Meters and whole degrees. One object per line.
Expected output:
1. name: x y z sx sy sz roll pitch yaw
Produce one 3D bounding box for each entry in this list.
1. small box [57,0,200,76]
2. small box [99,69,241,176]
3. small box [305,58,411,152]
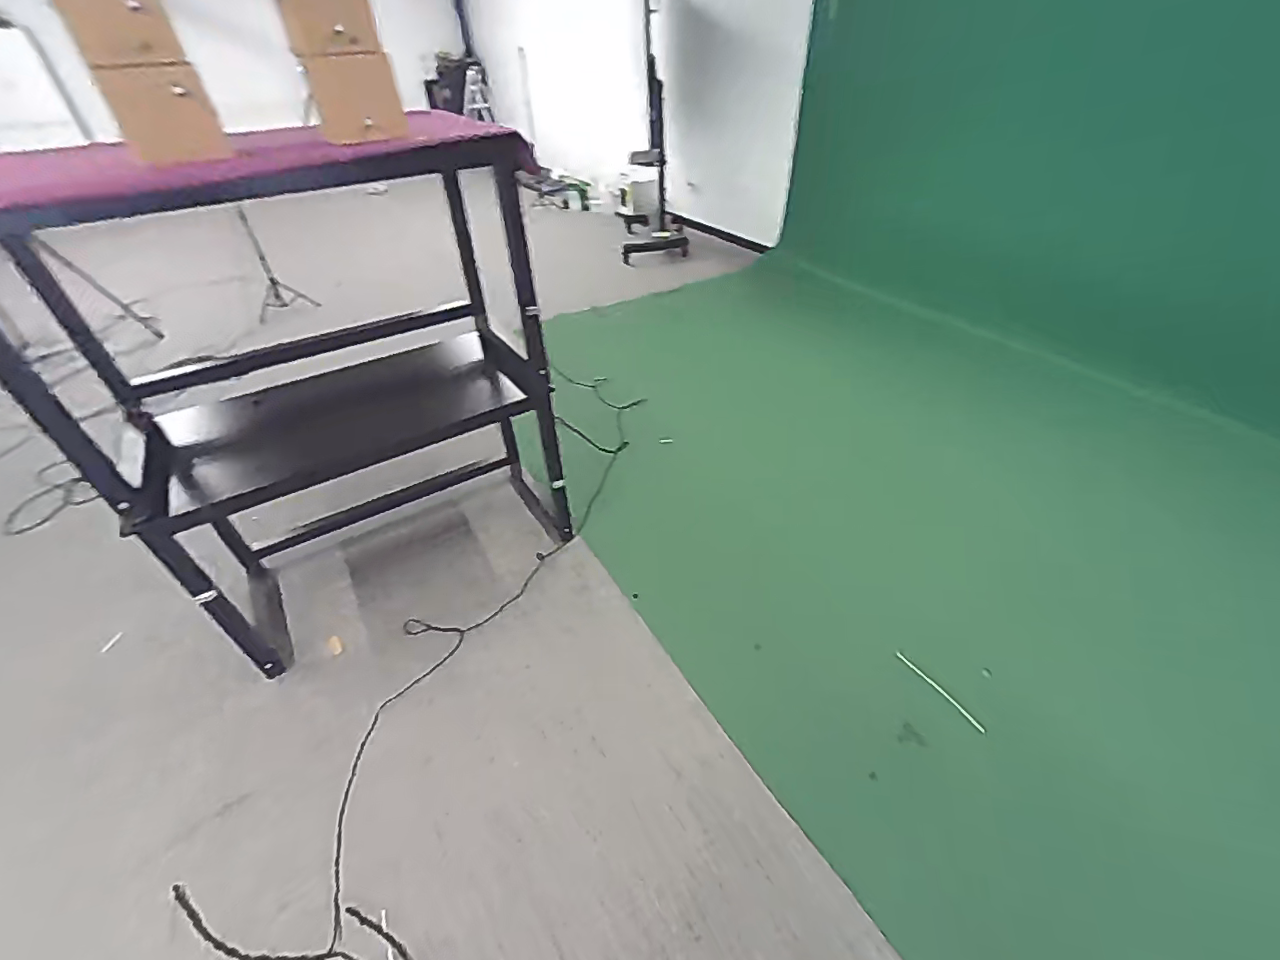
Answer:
1. small box: -0.993 -0.892 1.050 0.168 0.176 0.179 -22 43 -23
2. small box: -0.983 -0.765 1.152 0.179 0.176 0.168 -24 43 -23
3. small box: -0.669 -0.904 1.299 0.179 0.176 0.168 -24 42 -24
